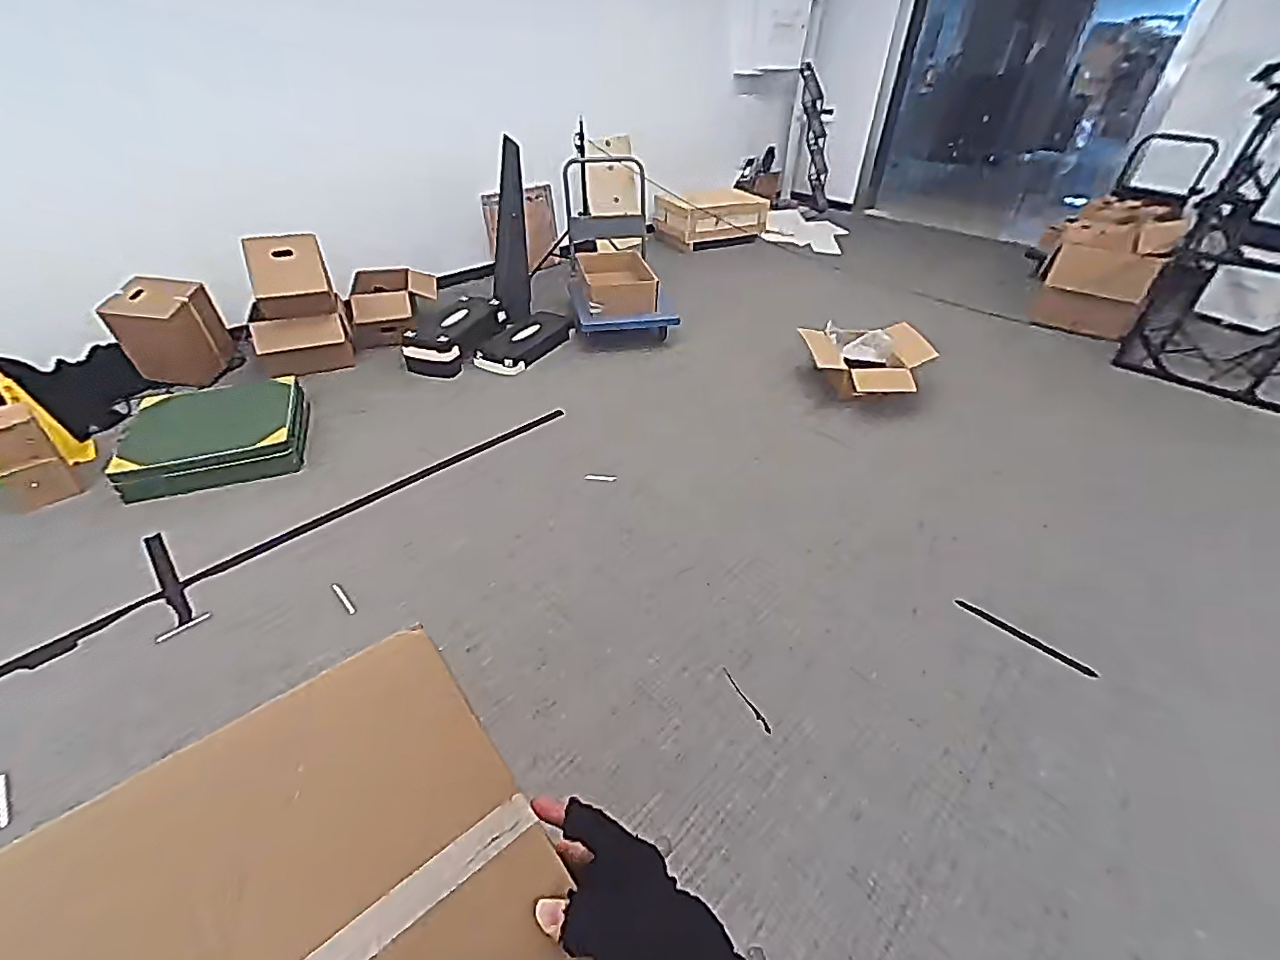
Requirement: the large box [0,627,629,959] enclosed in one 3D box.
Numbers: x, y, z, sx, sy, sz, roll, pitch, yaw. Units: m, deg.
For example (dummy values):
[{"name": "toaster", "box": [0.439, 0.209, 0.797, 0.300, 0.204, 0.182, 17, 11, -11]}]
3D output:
[{"name": "large box", "box": [-0.248, 0.389, 0.378, 0.408, 0.320, 0.320, -28, 63, -29]}]
